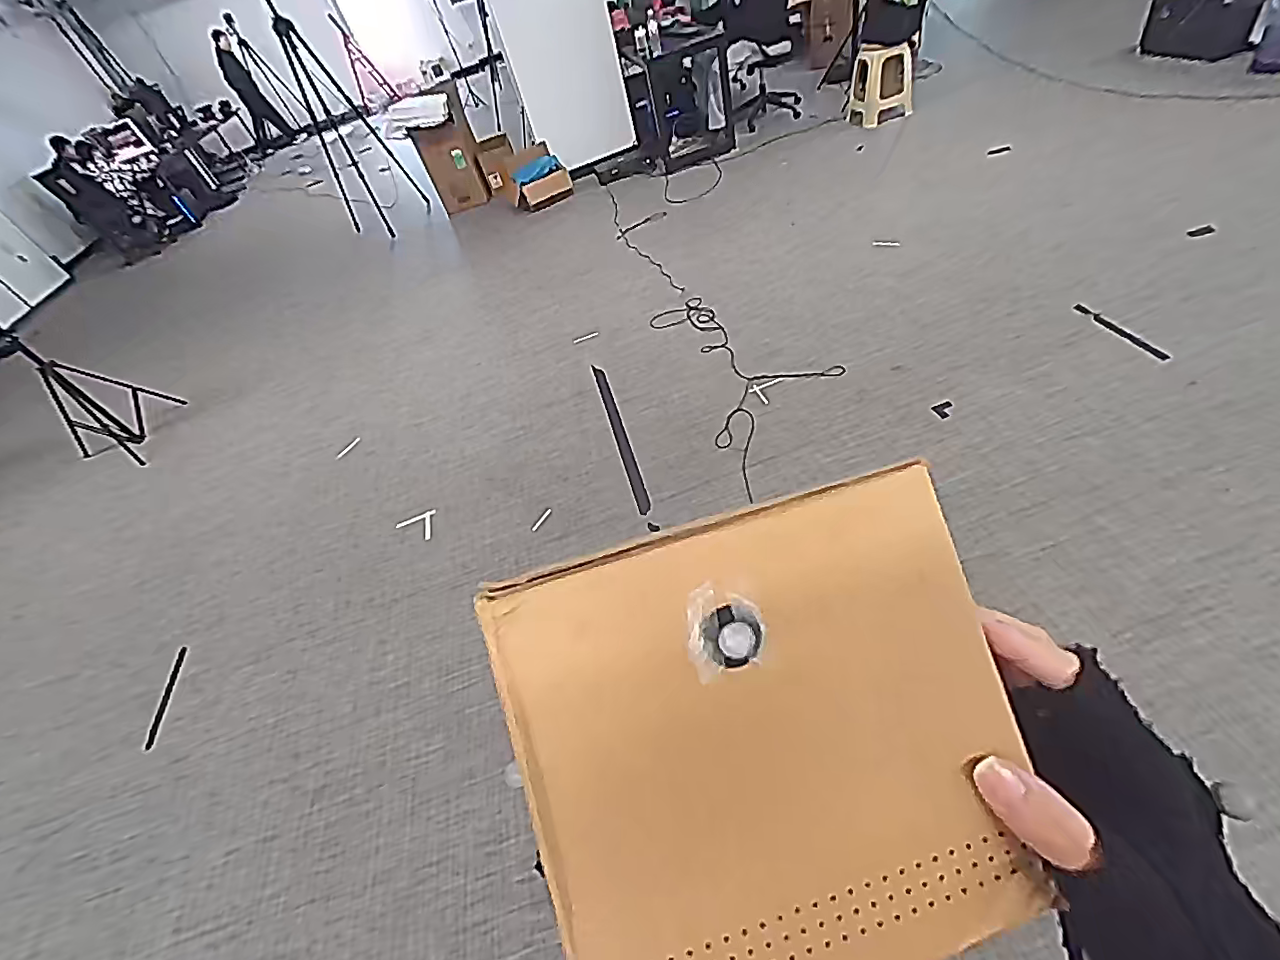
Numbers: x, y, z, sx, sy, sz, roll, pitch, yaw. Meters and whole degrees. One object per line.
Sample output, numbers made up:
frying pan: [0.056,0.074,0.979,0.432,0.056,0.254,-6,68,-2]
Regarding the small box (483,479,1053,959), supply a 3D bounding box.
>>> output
small box: [0.045,0.112,0.267,0.179,0.168,0.176,-16,84,-5]
